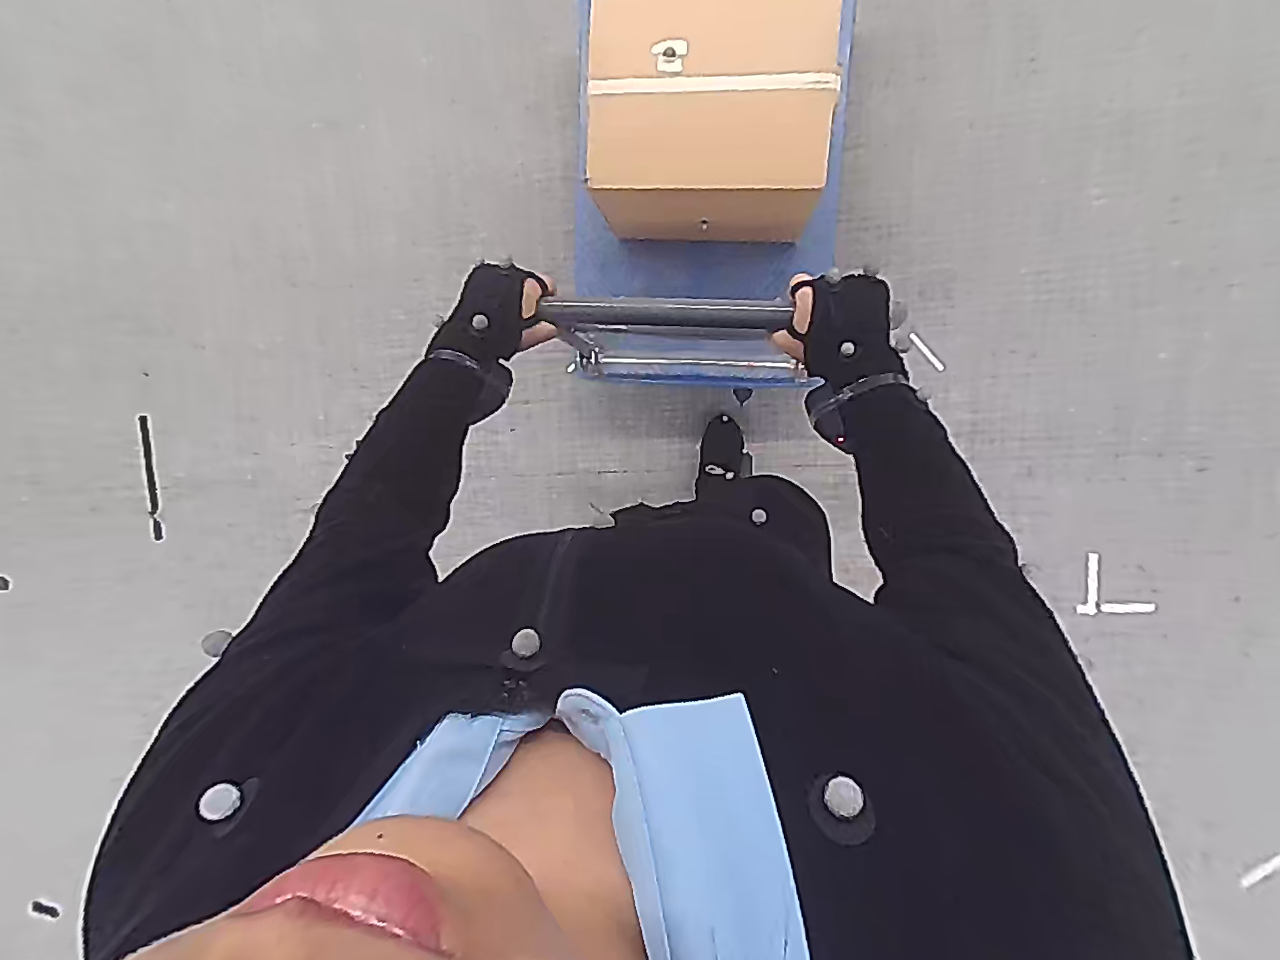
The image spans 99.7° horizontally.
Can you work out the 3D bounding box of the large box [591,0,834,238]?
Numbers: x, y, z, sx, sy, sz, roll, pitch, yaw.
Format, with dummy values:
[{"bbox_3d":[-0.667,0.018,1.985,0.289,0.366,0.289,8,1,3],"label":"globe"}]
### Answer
[{"bbox_3d":[0.138,-0.676,1.055,0.408,0.320,0.320,4,98,9],"label":"large box"}]
